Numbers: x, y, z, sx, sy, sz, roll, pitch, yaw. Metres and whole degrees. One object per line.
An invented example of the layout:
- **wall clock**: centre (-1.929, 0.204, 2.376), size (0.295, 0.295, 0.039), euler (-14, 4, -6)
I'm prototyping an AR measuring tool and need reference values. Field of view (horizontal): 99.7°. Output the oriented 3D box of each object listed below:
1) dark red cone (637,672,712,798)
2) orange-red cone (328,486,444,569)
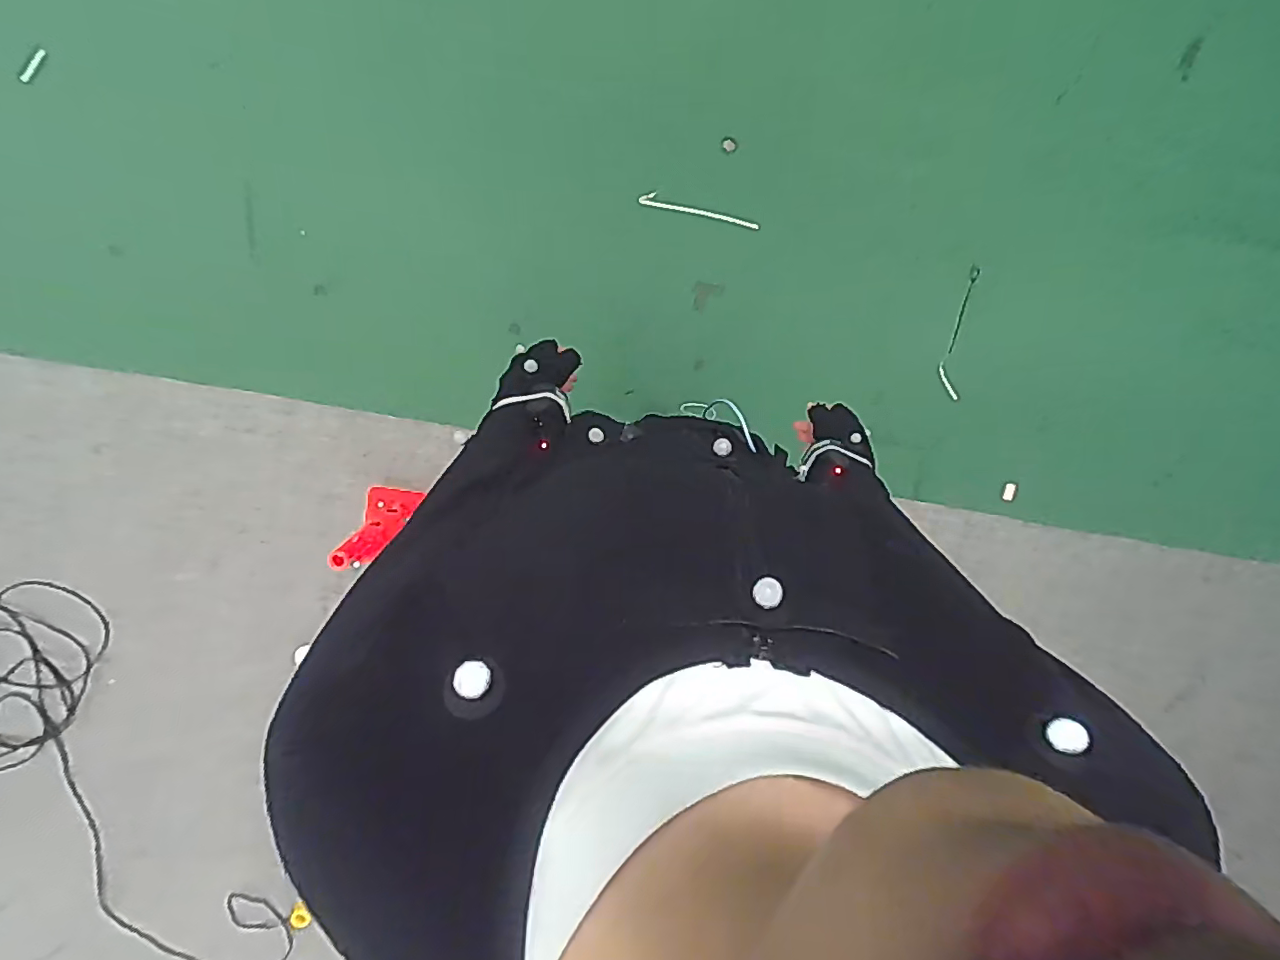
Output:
- **dark red cone**: centre (0.106, 0.653, 1.358), size (0.202, 0.394, 0.201), euler (4, 95, -4)
- **orange-red cone**: centre (-0.625, 0.146, 1.278), size (0.198, 0.360, 0.199), euler (10, 97, -4)
